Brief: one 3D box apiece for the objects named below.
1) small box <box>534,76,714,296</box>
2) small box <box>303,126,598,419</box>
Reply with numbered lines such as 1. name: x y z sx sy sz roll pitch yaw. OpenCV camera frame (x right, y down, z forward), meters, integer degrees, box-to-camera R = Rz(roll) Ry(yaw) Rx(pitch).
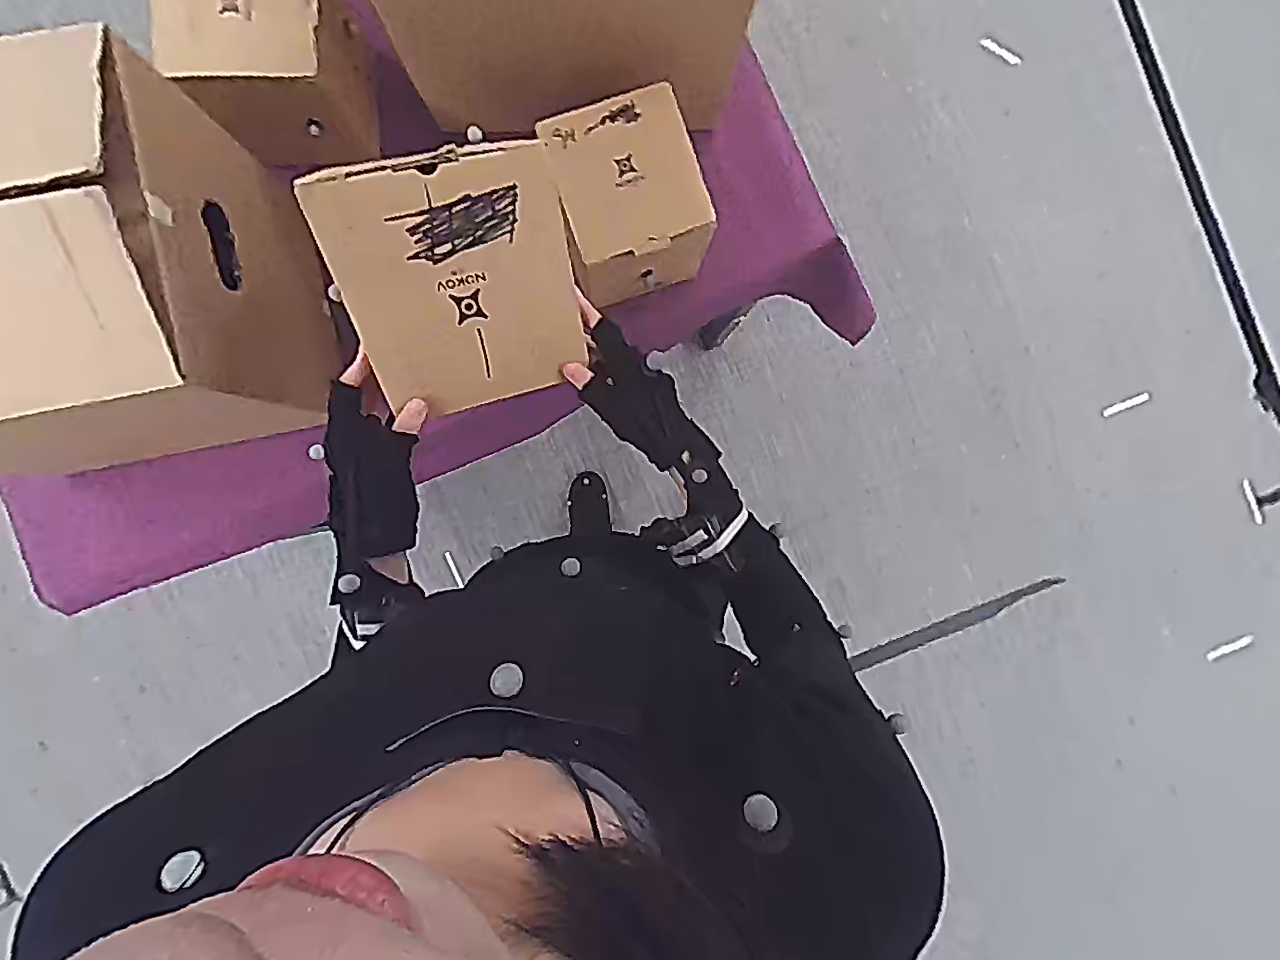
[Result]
1. small box: -0.020 -0.354 0.693 0.168 0.176 0.179 -19 92 -3
2. small box: -0.147 -0.179 0.448 0.168 0.176 0.179 -17 127 -14
